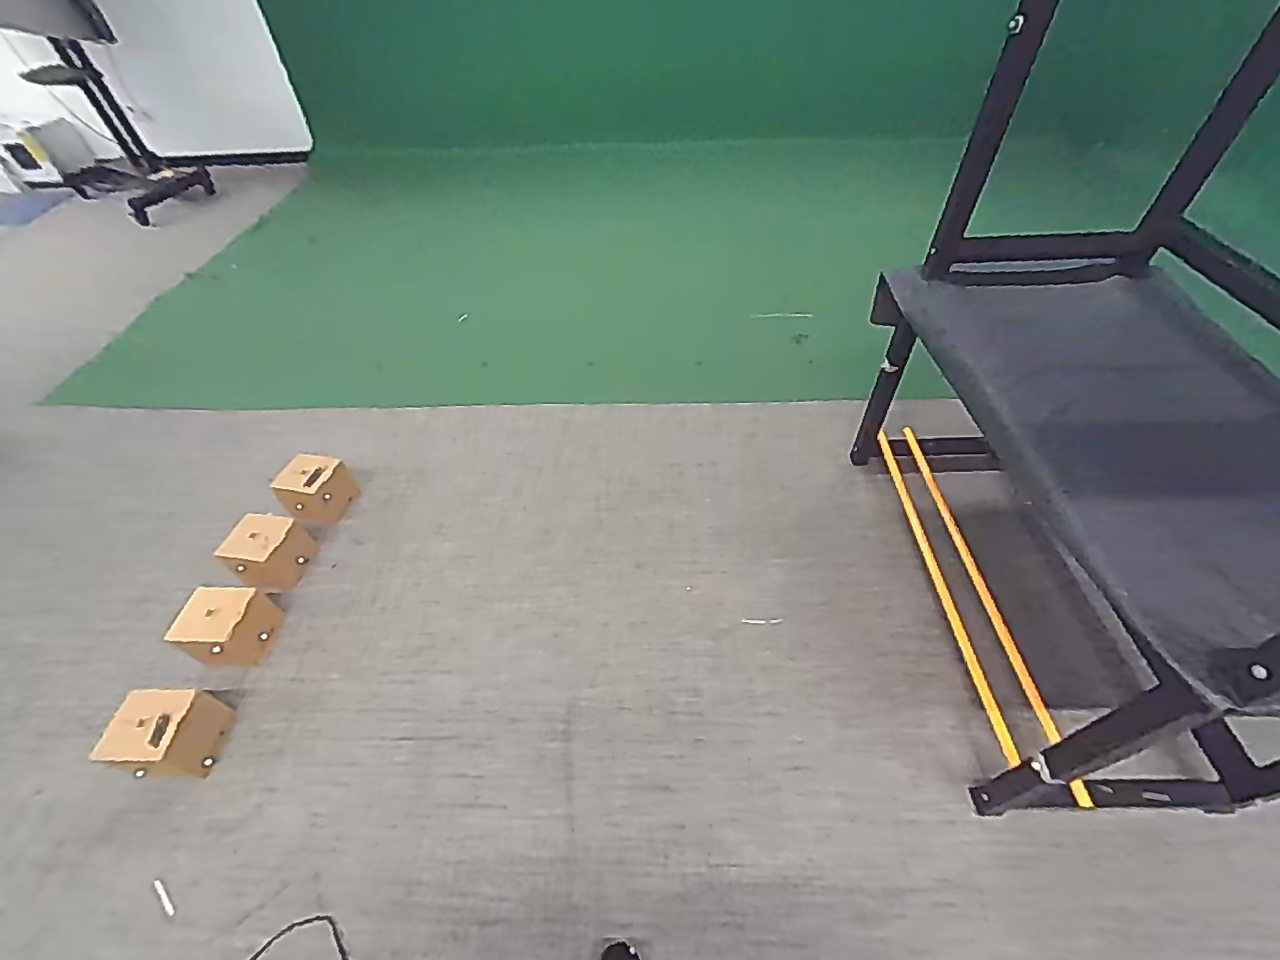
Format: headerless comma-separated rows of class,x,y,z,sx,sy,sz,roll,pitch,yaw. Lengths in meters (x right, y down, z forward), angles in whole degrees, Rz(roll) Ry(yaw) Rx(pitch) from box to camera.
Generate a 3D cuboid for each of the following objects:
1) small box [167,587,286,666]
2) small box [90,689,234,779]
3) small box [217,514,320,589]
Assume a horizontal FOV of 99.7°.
small box,-1.172,0.422,1.549,0.179,0.176,0.168,1,48,2
small box,-1.176,0.636,1.352,0.179,0.176,0.168,-1,48,2
small box,-1.173,0.230,1.721,0.179,0.176,0.168,7,49,7
